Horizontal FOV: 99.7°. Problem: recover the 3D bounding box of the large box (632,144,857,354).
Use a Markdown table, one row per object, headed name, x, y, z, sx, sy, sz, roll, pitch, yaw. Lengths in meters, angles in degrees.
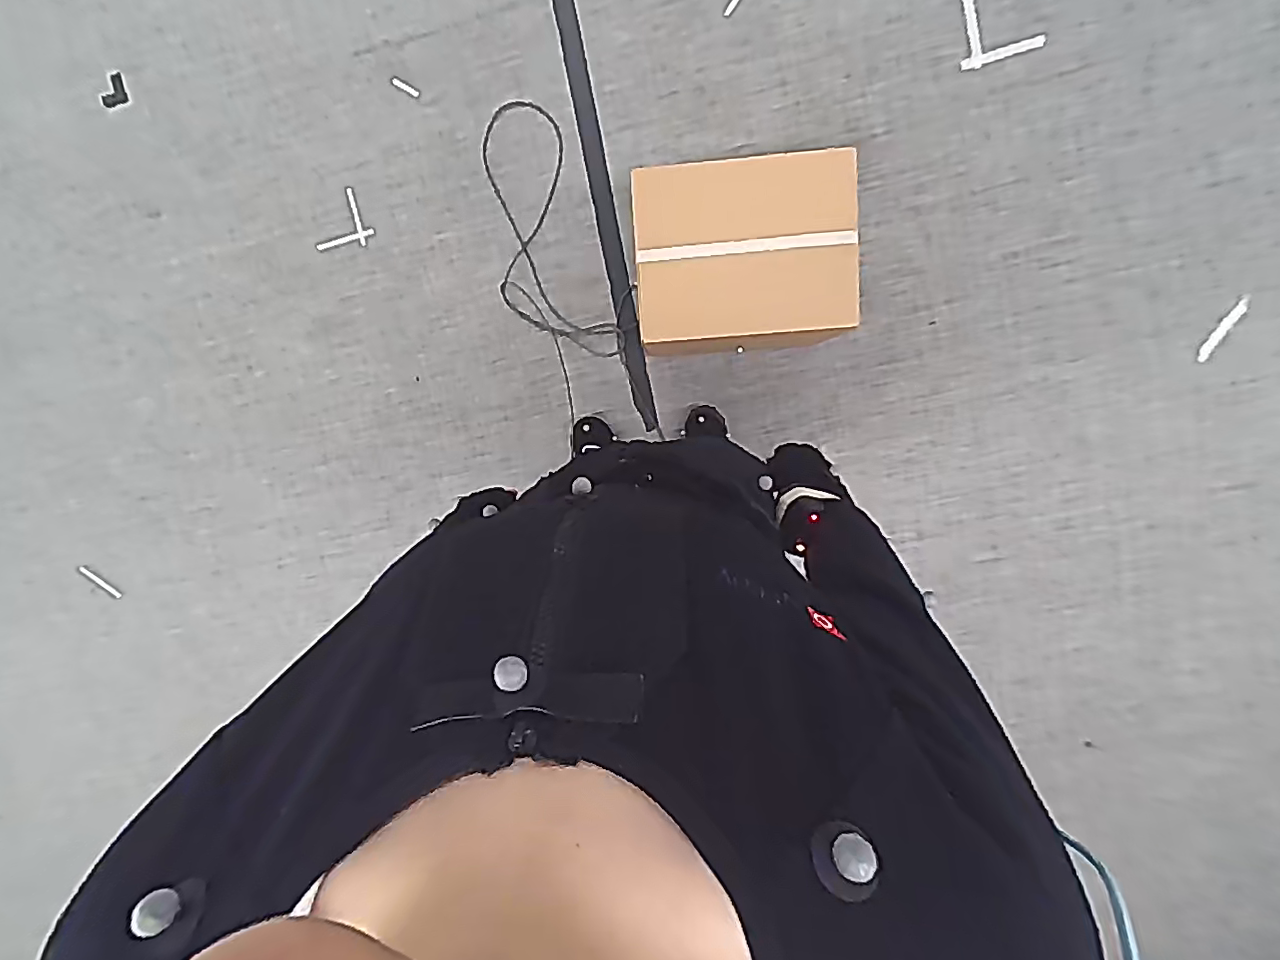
| name | x | y | z | sx | sy | sz | roll | pitch | yaw |
| --- | --- | --- | --- | --- | --- | --- | --- | --- | --- |
| large box | 0.202 | -0.454 | 1.144 | 0.408 | 0.320 | 0.320 | -3 | 98 | 4 |
